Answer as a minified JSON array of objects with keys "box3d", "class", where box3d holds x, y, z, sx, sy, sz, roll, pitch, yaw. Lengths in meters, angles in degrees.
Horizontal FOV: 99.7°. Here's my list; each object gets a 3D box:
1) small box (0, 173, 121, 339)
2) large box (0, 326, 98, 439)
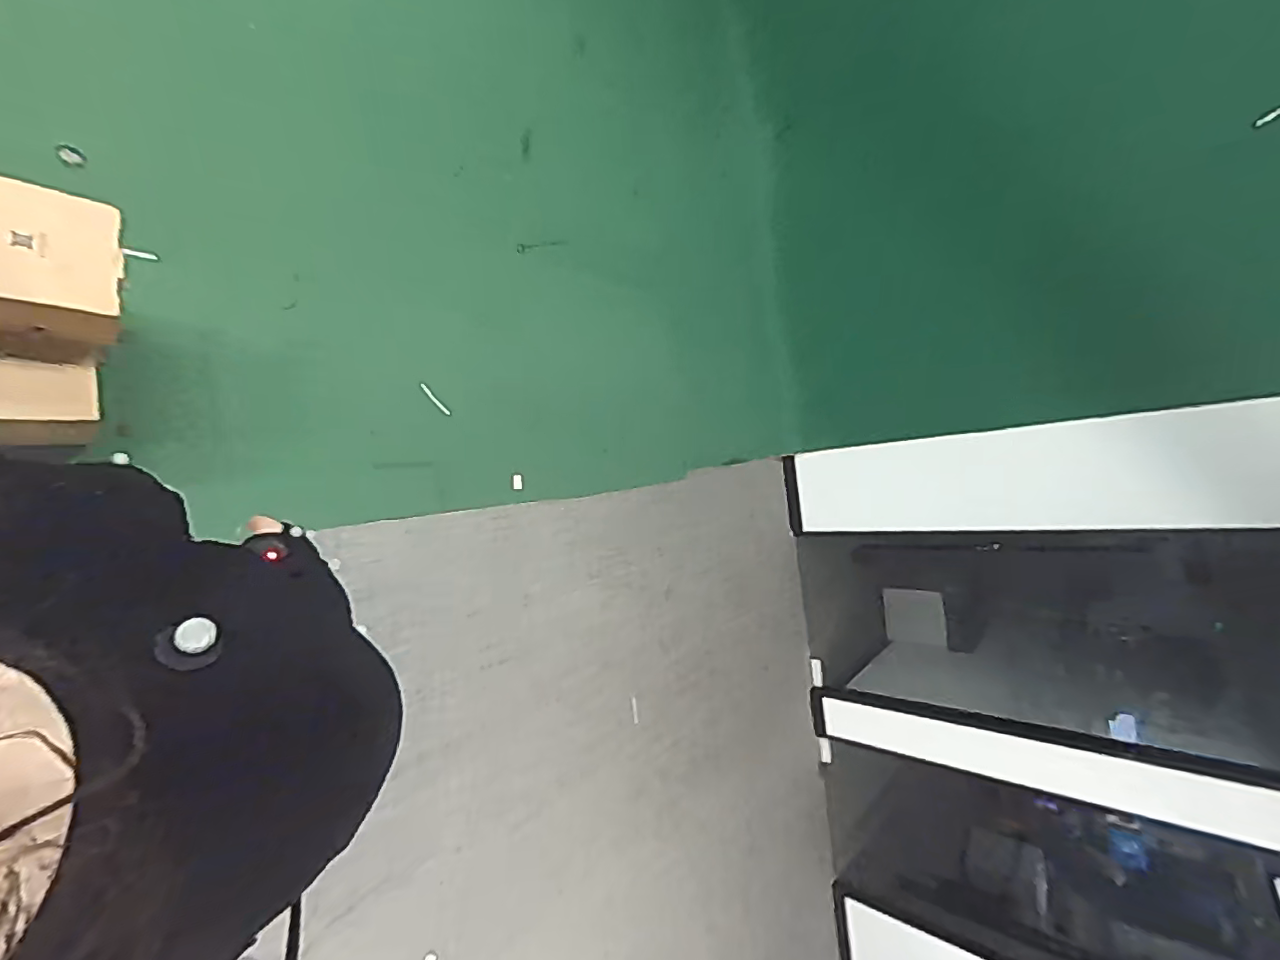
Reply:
[{"box3d":[-0.874,-0.313,0.773,0.179,0.176,0.168,3,83,-47],"class":"small box"},{"box3d":[-1.145,-0.232,0.834,0.408,0.320,0.320,-5,91,-48],"class":"large box"}]
